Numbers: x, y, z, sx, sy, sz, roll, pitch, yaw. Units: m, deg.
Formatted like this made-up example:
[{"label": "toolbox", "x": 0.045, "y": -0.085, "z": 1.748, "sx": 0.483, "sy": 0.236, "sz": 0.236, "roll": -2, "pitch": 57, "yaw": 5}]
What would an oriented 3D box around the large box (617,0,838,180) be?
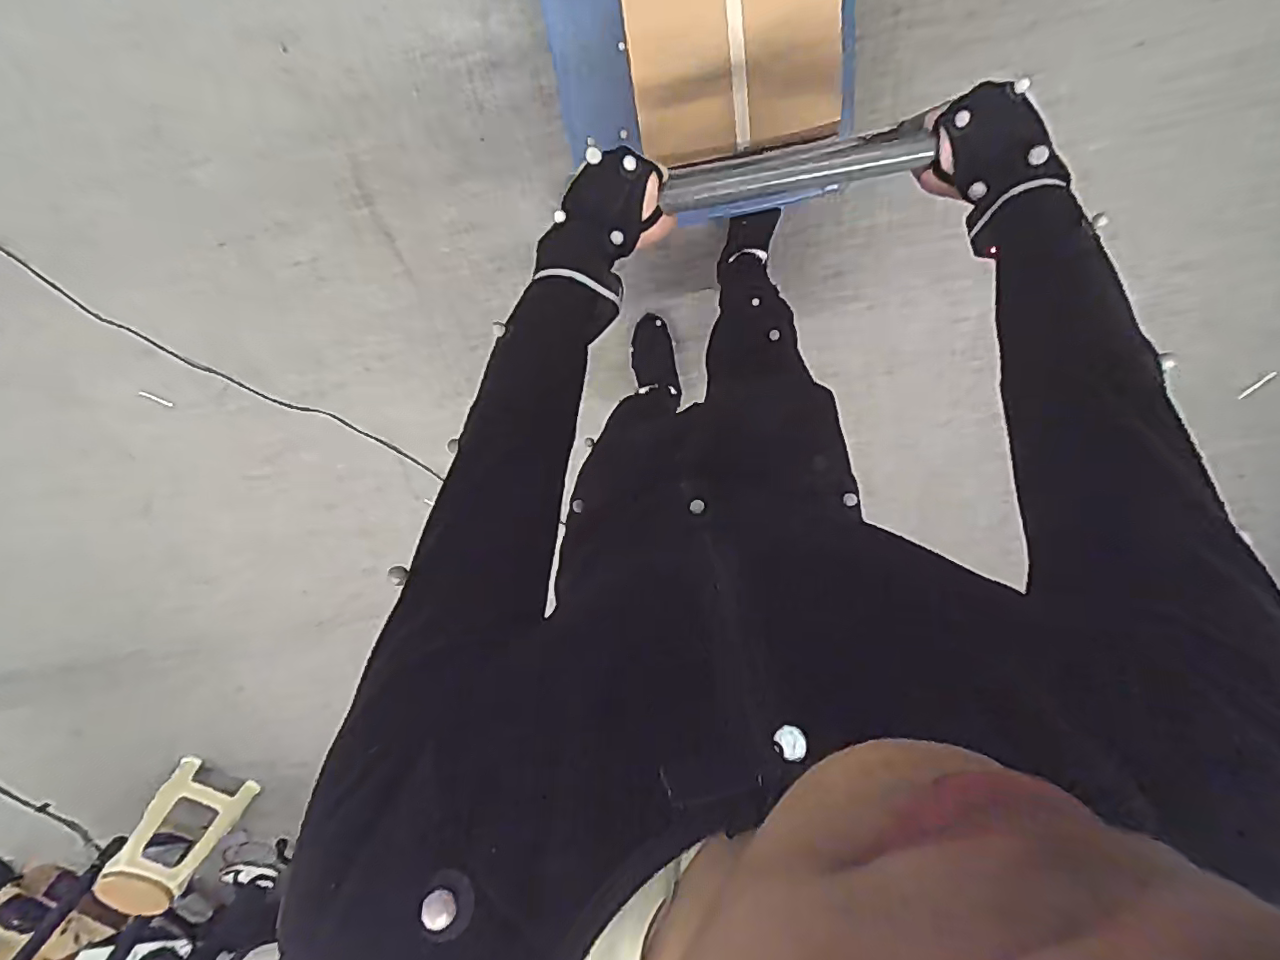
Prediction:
[{"label": "large box", "x": 0.130, "y": -0.765, "z": 0.913, "sx": 0.320, "sy": 0.320, "sz": 0.408, "roll": -8, "pitch": 117, "yaw": 5}]
